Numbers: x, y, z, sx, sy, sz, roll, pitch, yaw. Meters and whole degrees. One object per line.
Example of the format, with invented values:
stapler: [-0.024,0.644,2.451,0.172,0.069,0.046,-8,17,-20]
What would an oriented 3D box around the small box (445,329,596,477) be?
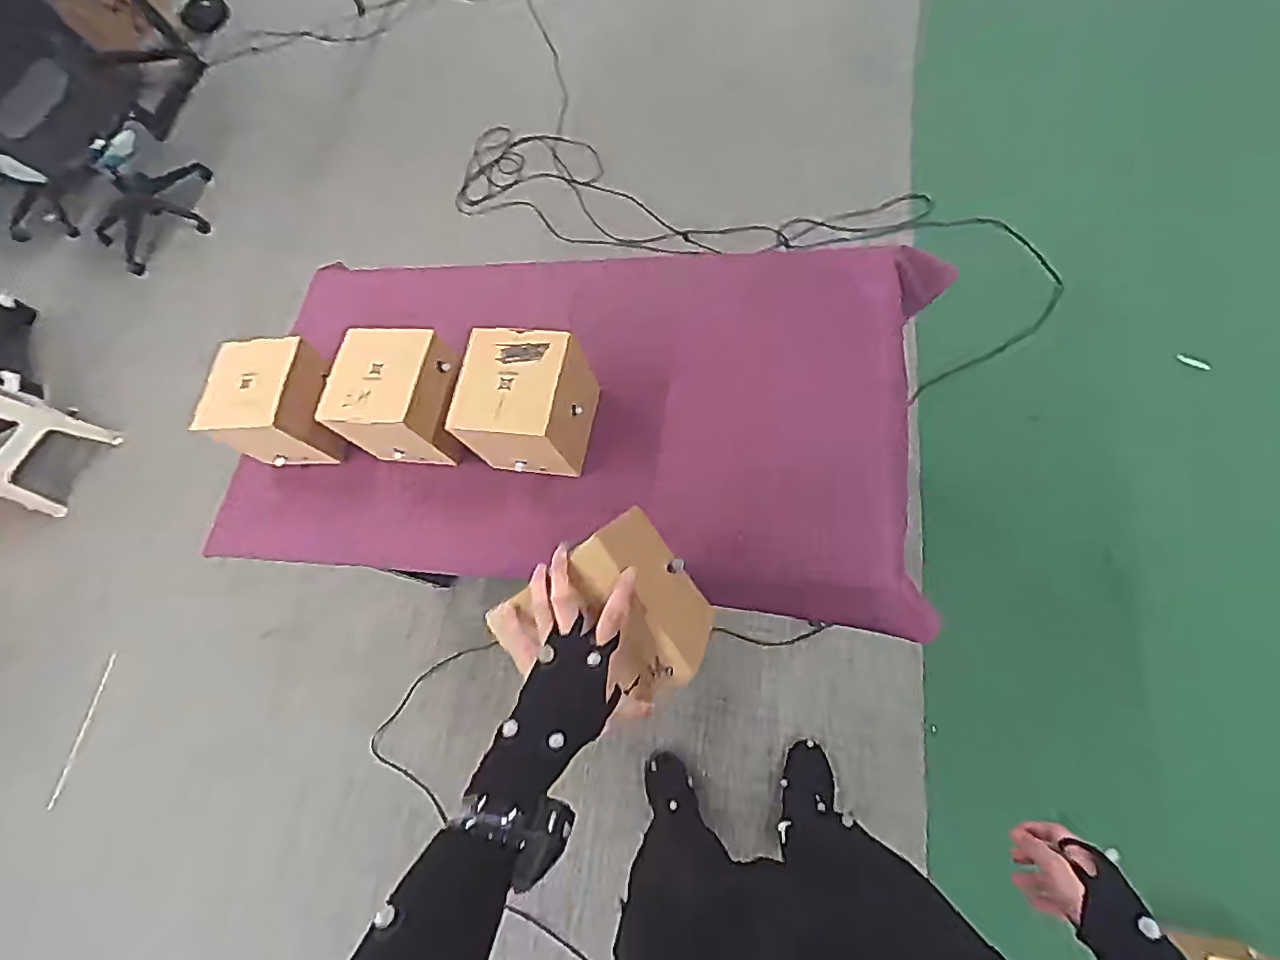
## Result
small box: [-0.181,-0.121,0.881,0.168,0.176,0.179,6,72,15]

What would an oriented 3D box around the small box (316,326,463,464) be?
small box: [-0.408,-0.143,0.938,0.168,0.176,0.179,5,71,14]

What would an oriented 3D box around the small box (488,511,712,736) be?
small box: [-0.035,0.151,0.634,0.168,0.176,0.179,-35,88,18]

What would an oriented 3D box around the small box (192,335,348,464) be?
small box: [-0.652,-0.141,0.992,0.168,0.176,0.179,0,70,13]

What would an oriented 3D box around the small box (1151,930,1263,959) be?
small box: [1.083,0.964,0.984,0.179,0.176,0.168,6,71,14]
